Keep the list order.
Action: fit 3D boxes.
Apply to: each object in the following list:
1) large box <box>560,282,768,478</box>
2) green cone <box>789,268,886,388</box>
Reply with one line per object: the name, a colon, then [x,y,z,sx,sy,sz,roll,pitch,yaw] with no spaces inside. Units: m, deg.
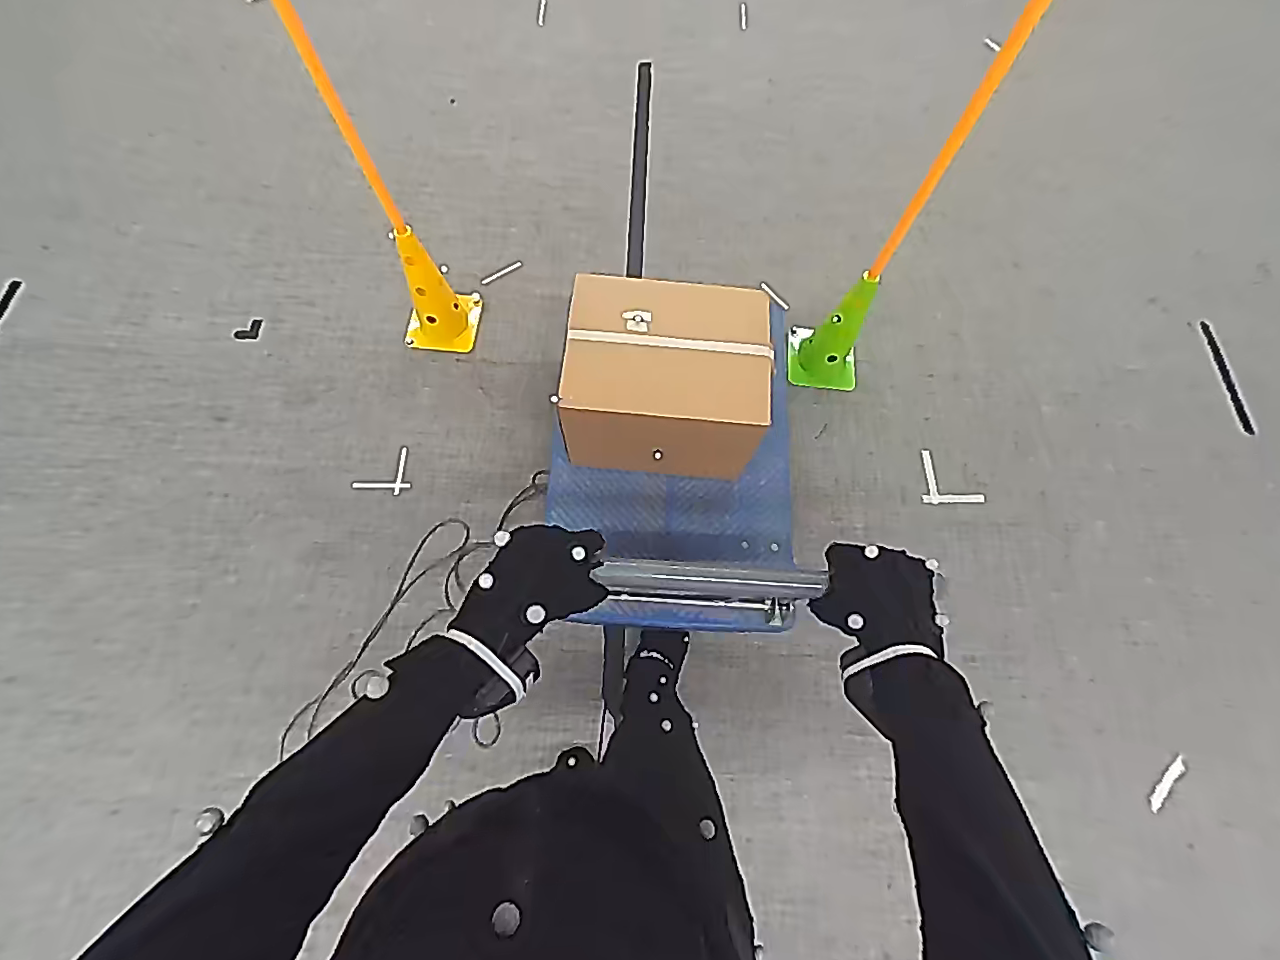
large box: [0.055,-0.206,1.212,0.408,0.320,0.320,5,70,0]
green cone: [0.558,-0.429,1.465,0.202,0.368,0.200,6,70,-1]
